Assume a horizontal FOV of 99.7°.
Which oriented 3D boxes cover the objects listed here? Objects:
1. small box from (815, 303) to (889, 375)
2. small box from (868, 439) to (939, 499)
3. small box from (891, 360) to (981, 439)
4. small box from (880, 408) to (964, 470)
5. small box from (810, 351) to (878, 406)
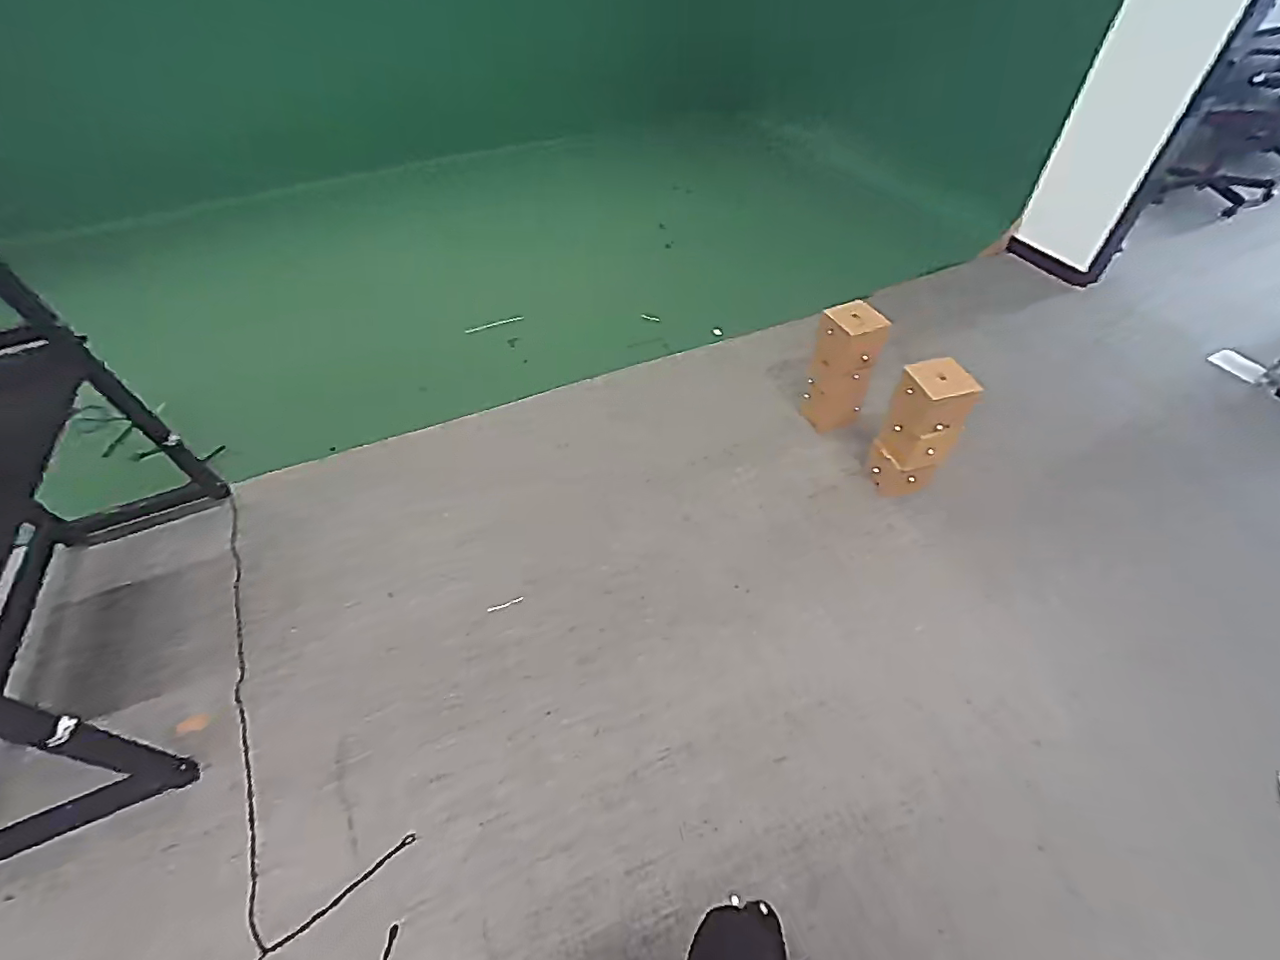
[{"bbox_3d":[0.766,-0.513,1.973,0.168,0.176,0.179,-20,51,-12],"label":"small box"},{"bbox_3d":[0.966,-0.053,1.996,0.179,0.176,0.168,-14,51,-6],"label":"small box"},{"bbox_3d":[0.945,-0.260,1.746,0.168,0.176,0.179,-12,49,-4],"label":"small box"},{"bbox_3d":[0.966,-0.154,1.868,0.168,0.176,0.179,-14,50,-8],"label":"small box"},{"bbox_3d":[0.784,-0.414,2.105,0.179,0.176,0.168,-20,51,-14],"label":"small box"}]
